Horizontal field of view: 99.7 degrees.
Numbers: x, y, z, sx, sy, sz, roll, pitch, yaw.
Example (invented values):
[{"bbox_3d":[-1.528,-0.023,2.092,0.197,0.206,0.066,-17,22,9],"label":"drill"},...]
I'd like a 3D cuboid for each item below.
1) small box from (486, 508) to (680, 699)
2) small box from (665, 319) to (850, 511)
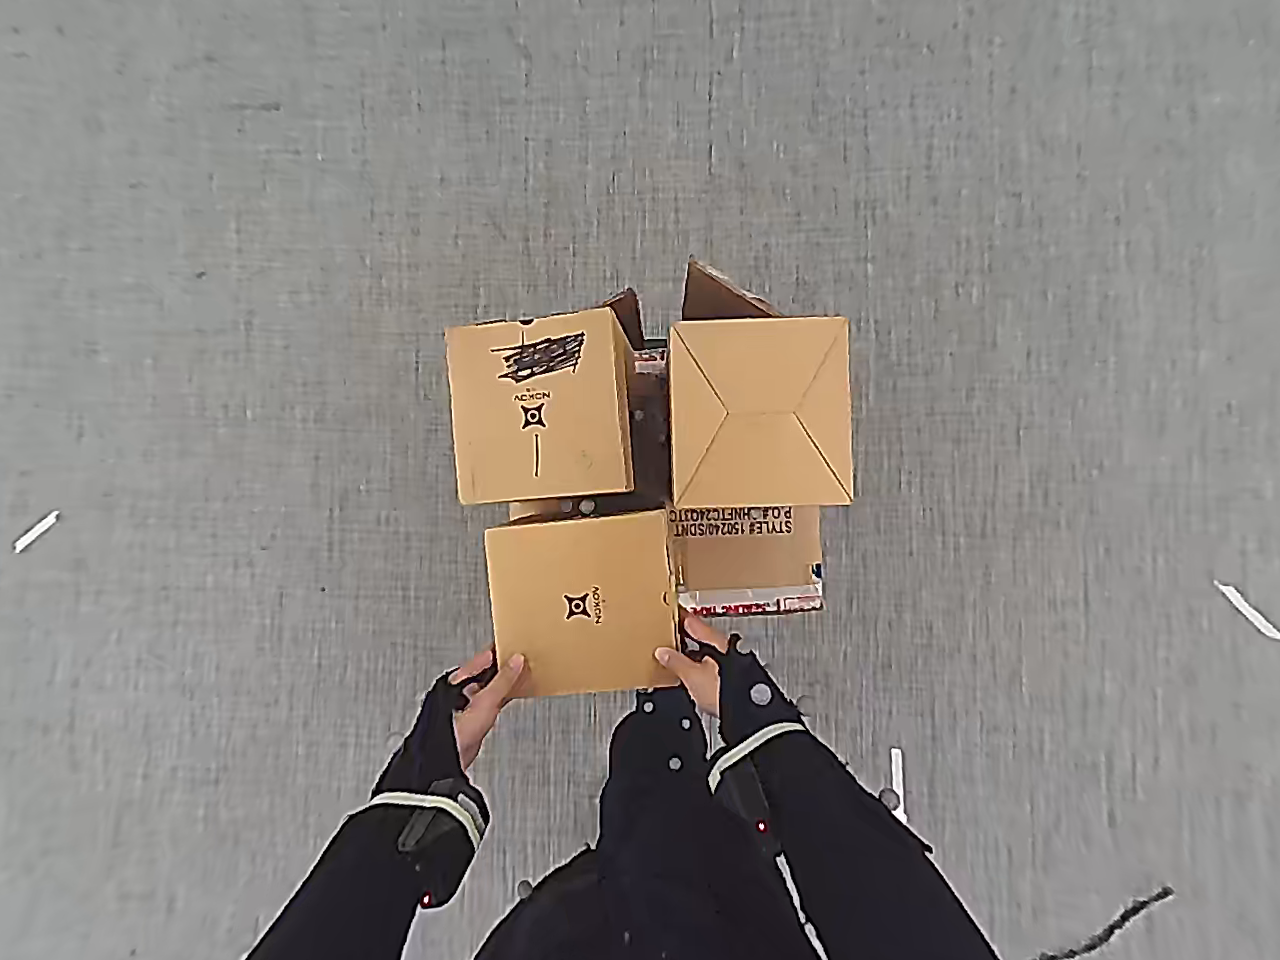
[{"bbox_3d":[-0.050,0.121,0.590,0.179,0.176,0.168,-6,90,2],"label":"small box"},{"bbox_3d":[0.114,-0.058,0.581,0.168,0.176,0.179,-2,89,0],"label":"small box"}]
